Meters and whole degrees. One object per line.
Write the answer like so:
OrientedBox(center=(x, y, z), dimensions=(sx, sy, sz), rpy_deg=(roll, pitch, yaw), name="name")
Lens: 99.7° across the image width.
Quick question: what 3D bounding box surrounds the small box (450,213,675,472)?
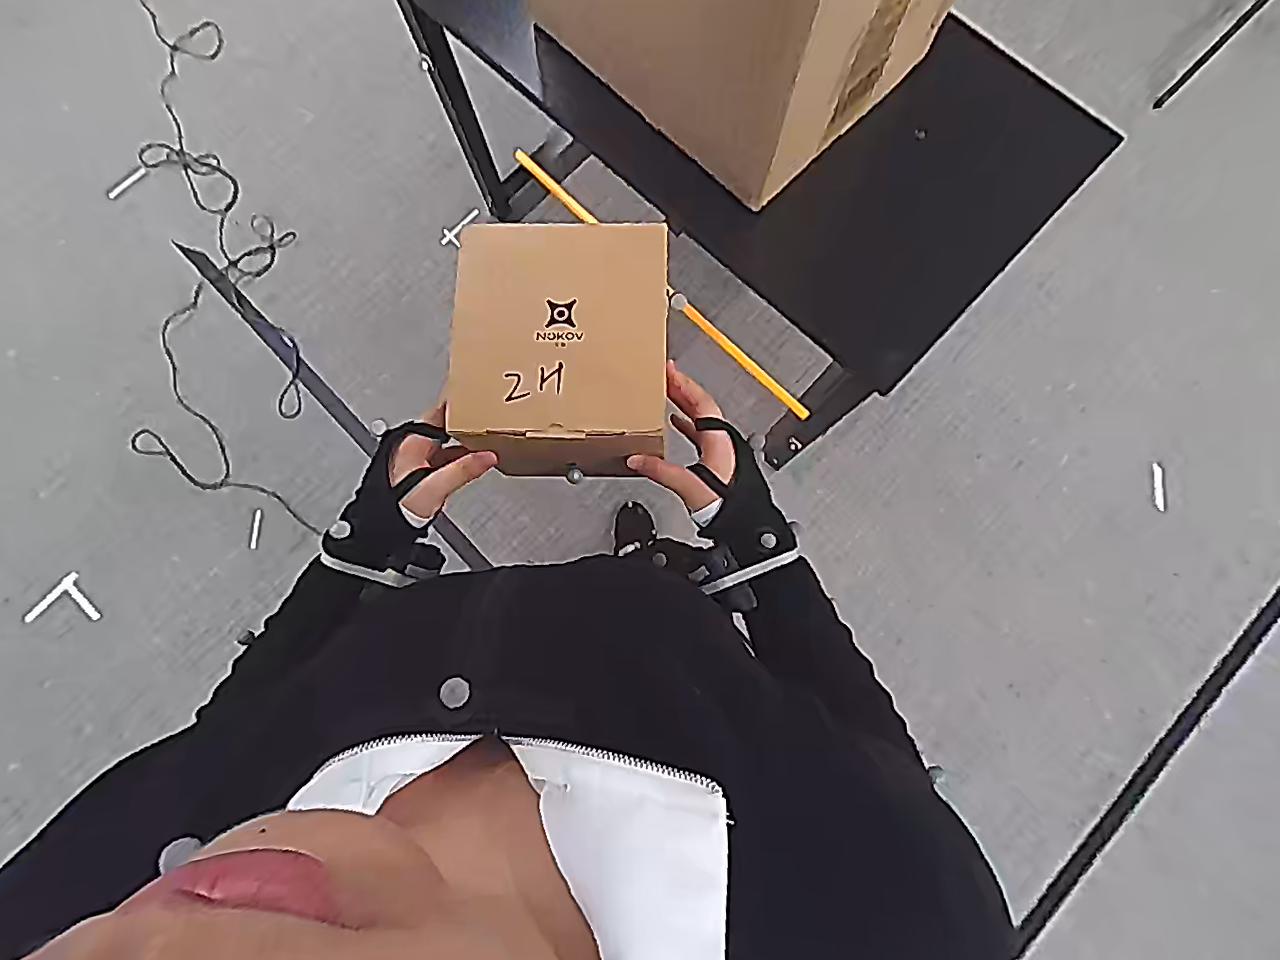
OrientedBox(center=(-0.056, -0.111, 0.491), dimensions=(0.168, 0.176, 0.179), rpy_deg=(1, 80, 2), name="small box")
